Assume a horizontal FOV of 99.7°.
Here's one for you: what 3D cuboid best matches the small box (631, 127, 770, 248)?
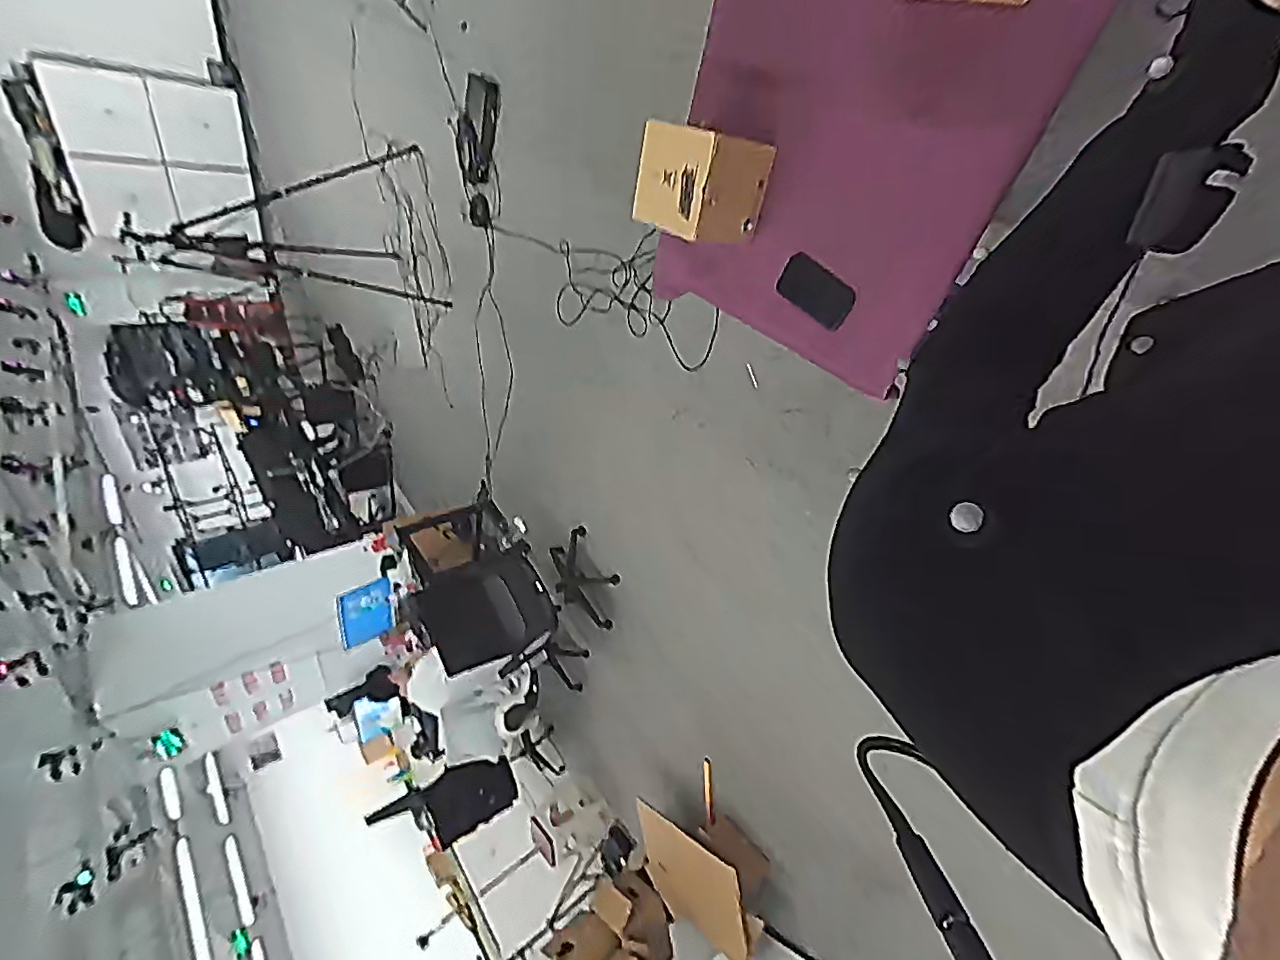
[{"bbox_3d":[0.112,-0.543,1.010,0.179,0.176,0.168,39,131,36],"label":"small box"}]

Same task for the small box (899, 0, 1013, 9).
[{"bbox_3d":[0.376,-0.683,0.632,0.179,0.176,0.168,41,133,34],"label":"small box"}]
